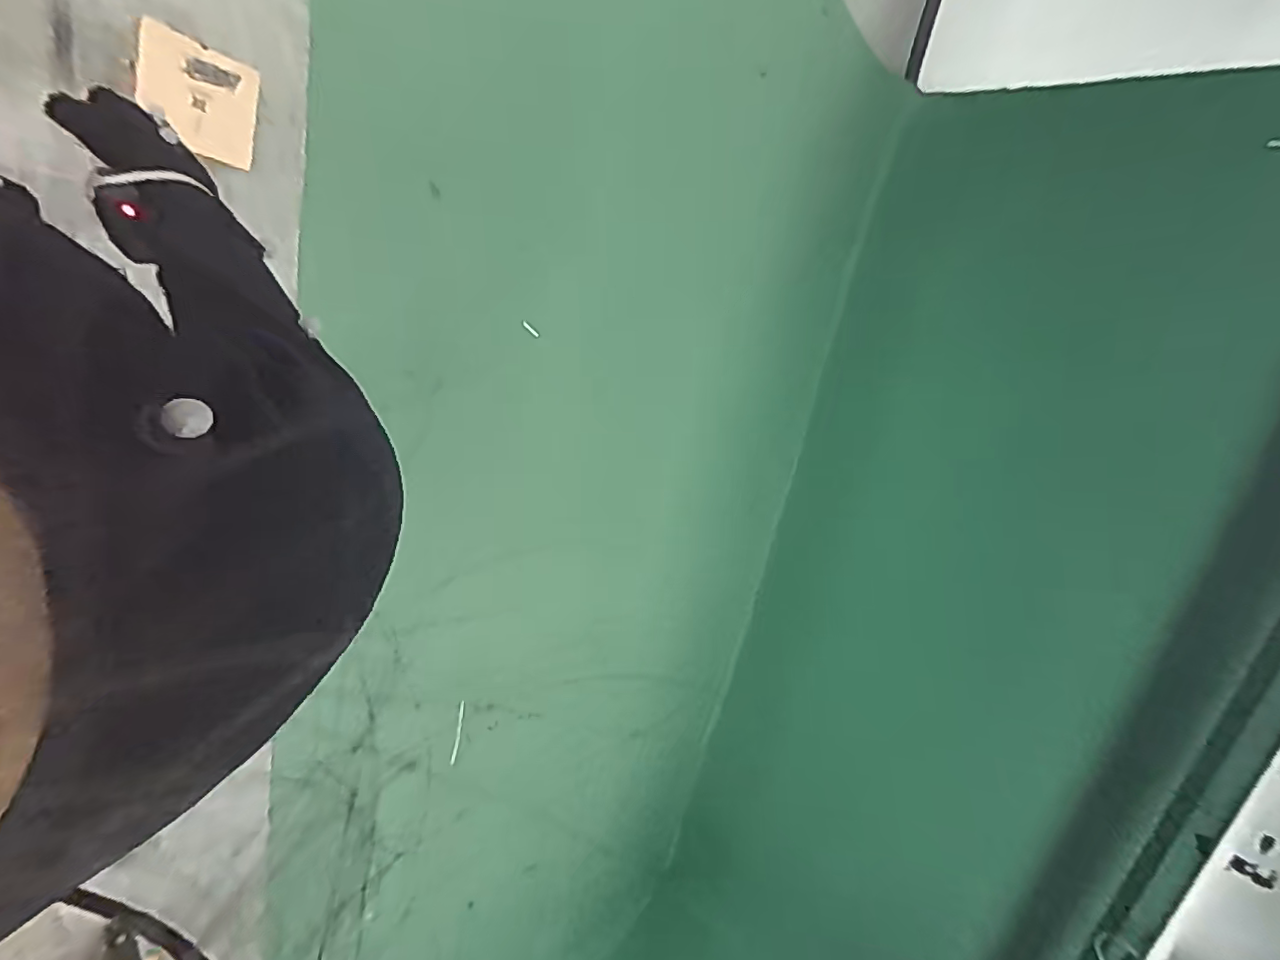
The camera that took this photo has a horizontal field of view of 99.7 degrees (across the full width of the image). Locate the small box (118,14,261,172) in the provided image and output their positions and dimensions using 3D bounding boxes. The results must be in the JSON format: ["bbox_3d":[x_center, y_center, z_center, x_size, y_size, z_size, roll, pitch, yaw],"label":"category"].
[{"bbox_3d":[-0.823,-0.690,0.986,0.168,0.176,0.179,0,110,-52],"label":"small box"}]
